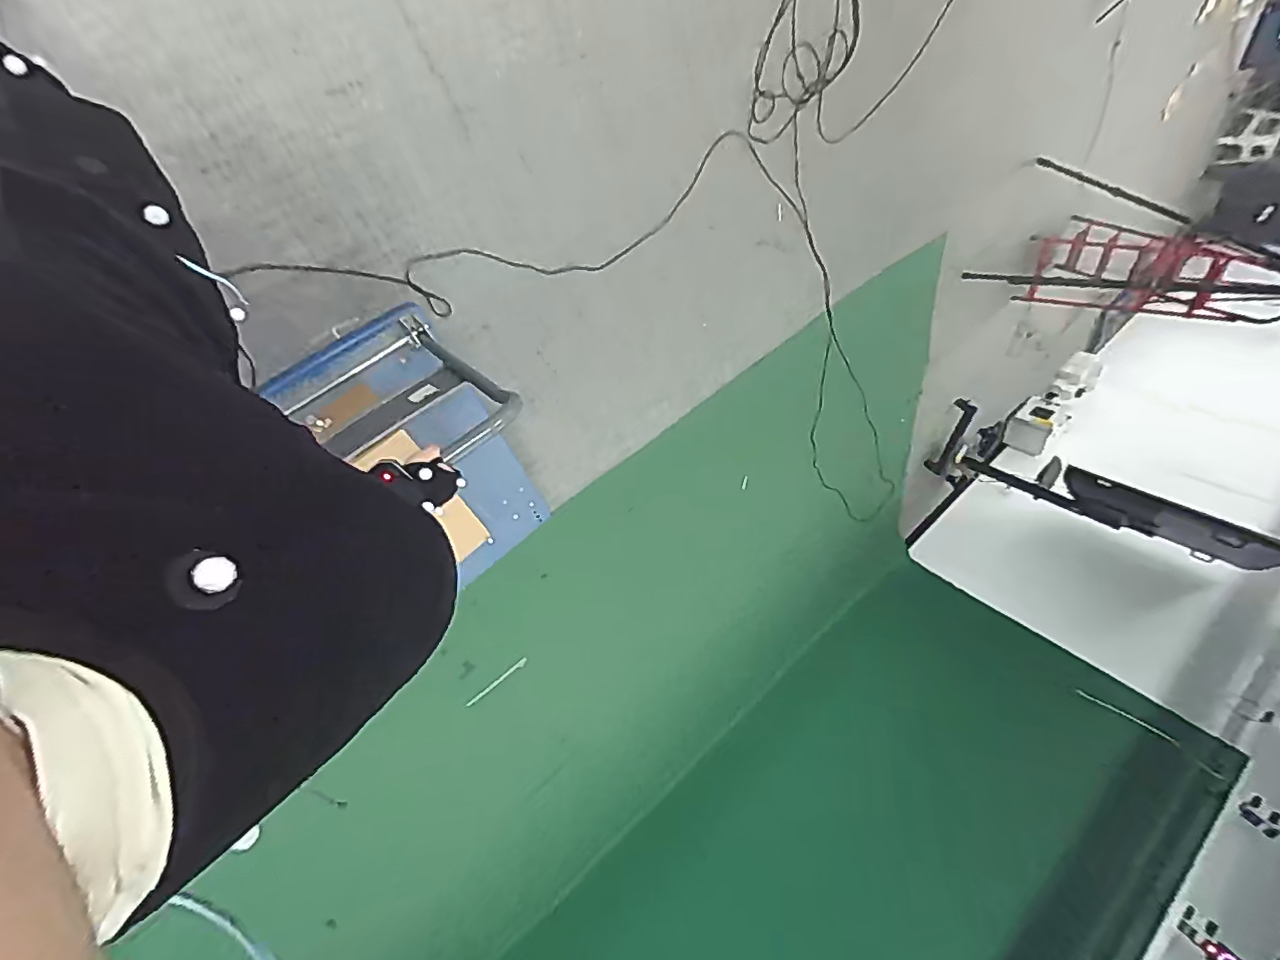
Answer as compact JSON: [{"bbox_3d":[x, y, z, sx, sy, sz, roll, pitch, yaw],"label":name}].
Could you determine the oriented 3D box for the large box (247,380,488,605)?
[{"bbox_3d":[-0.662,0.029,1.345,0.320,0.320,0.408,-40,138,-15],"label":"large box"}]
